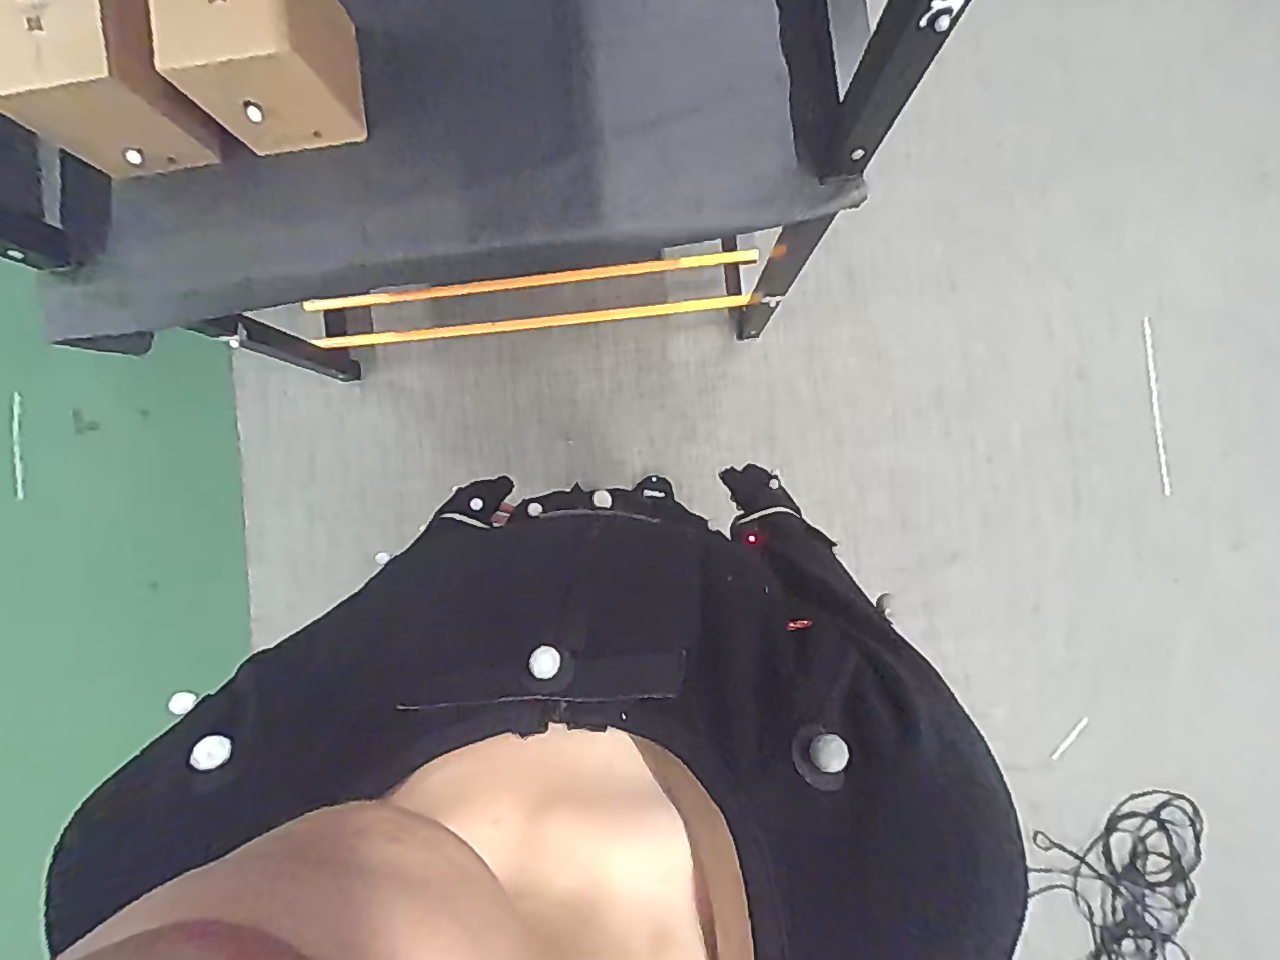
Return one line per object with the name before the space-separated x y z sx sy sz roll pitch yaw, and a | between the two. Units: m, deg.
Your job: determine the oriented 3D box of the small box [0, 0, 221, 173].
small box | -0.703 -0.548 0.716 0.168 0.176 0.179 -8 89 2
